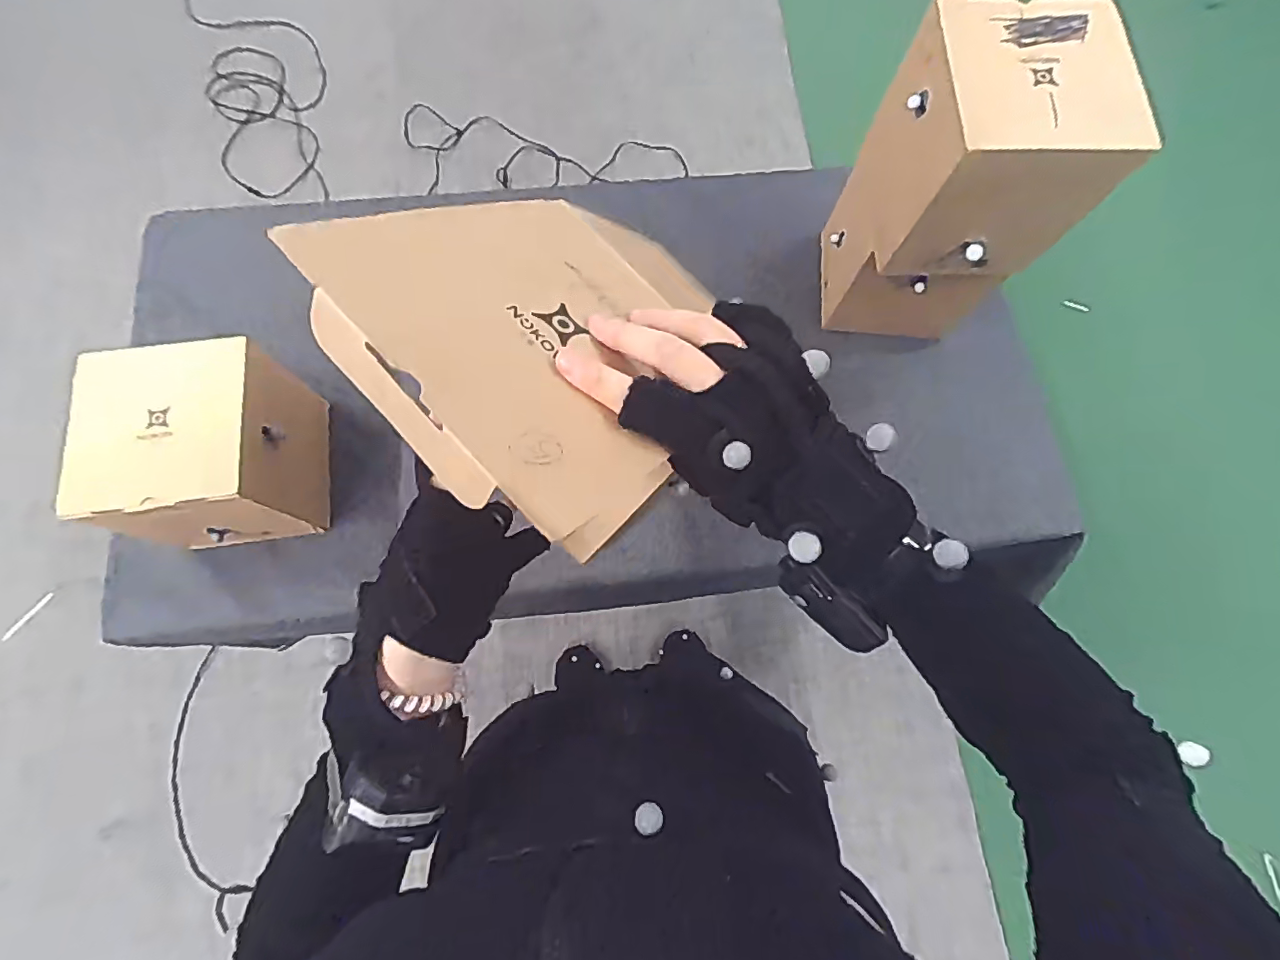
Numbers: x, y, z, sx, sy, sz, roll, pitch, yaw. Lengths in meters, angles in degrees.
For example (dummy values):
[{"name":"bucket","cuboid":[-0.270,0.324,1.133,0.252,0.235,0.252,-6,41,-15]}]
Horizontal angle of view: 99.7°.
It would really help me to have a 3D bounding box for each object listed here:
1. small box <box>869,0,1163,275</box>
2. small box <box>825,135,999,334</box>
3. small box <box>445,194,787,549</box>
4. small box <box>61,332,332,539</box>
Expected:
[{"name":"small box","cuboid":[0.347,-0.334,0.542,0.168,0.176,0.179,0,76,-1]},{"name":"small box","cuboid":[0.352,-0.308,0.705,0.179,0.176,0.168,6,75,0]},{"name":"small box","cuboid":[-0.008,-0.081,0.426,0.168,0.176,0.179,47,118,4]},{"name":"small box","cuboid":[-0.472,-0.041,0.609,0.168,0.176,0.179,-8,75,-4]}]
